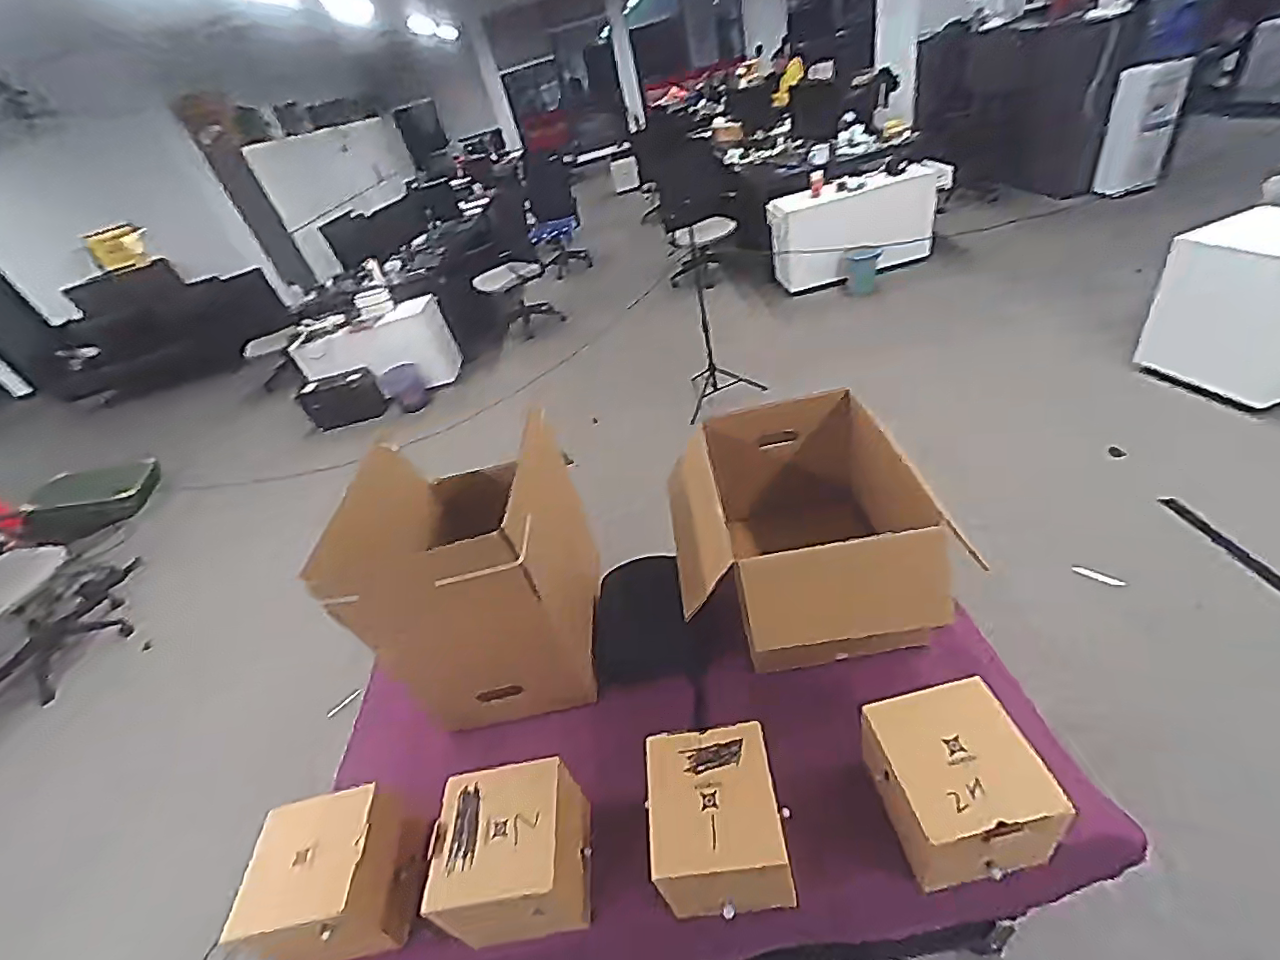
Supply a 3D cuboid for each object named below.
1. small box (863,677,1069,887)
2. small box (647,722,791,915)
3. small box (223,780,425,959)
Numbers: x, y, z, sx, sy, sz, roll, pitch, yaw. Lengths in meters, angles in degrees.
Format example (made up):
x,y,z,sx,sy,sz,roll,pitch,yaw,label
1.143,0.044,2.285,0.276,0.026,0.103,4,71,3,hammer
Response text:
x,y,z,sx,sy,sz,roll,pitch,yaw,label
0.412,0.402,0.723,0.168,0.176,0.179,-16,37,3,small box
0.108,0.470,0.754,0.168,0.176,0.179,-12,38,7,small box
-0.457,0.591,0.815,0.179,0.176,0.168,-14,37,1,small box
